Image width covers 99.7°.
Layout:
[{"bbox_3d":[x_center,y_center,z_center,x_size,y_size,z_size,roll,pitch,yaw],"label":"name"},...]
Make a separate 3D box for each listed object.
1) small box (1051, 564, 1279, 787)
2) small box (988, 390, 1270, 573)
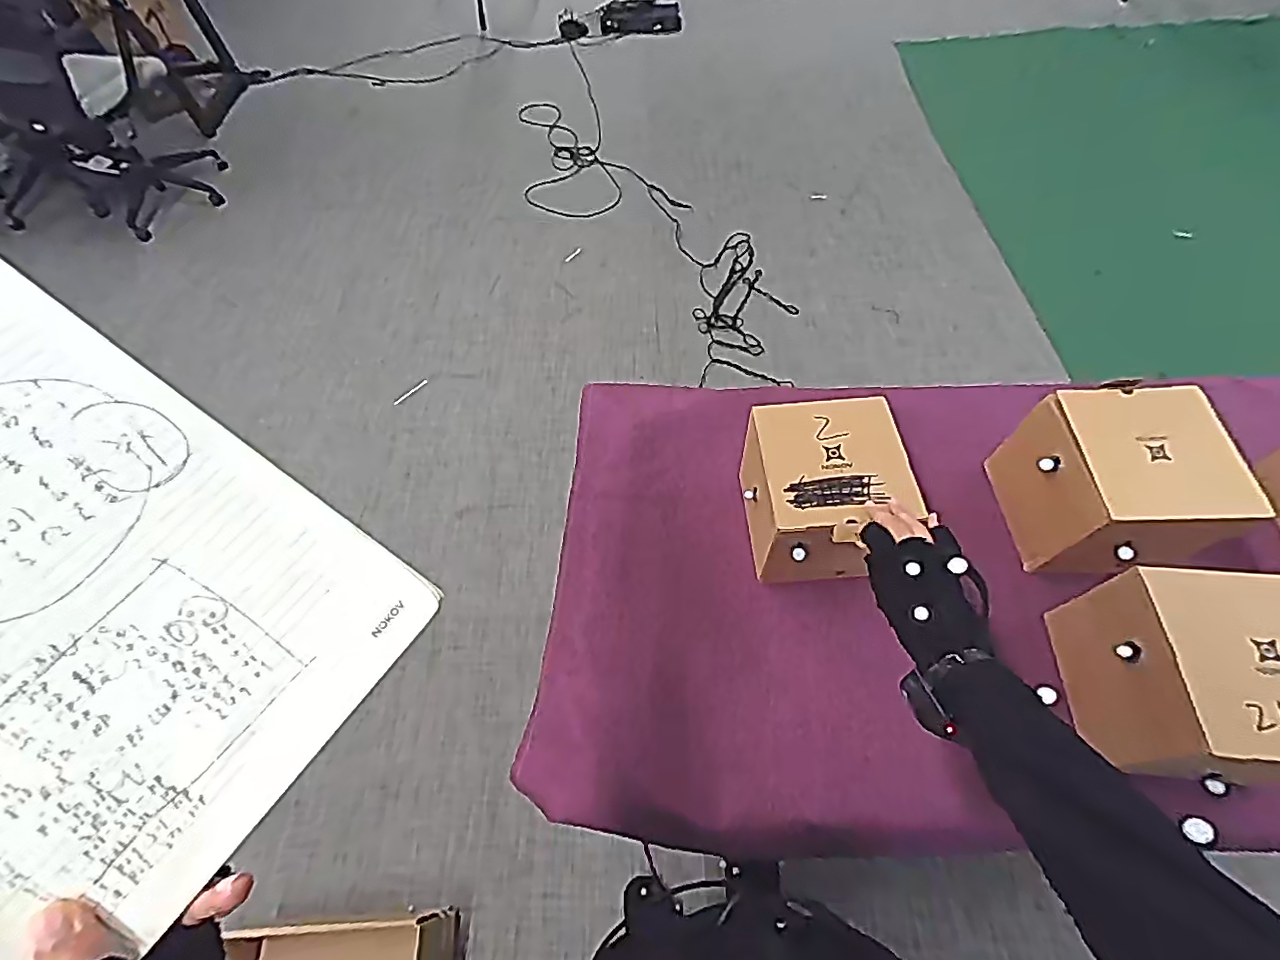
[{"bbox_3d":[0.572,0.204,0.557,0.168,0.176,0.179,3,59,7],"label":"small box"},{"bbox_3d":[0.581,0.010,0.677,0.168,0.176,0.179,-2,58,3],"label":"small box"}]
